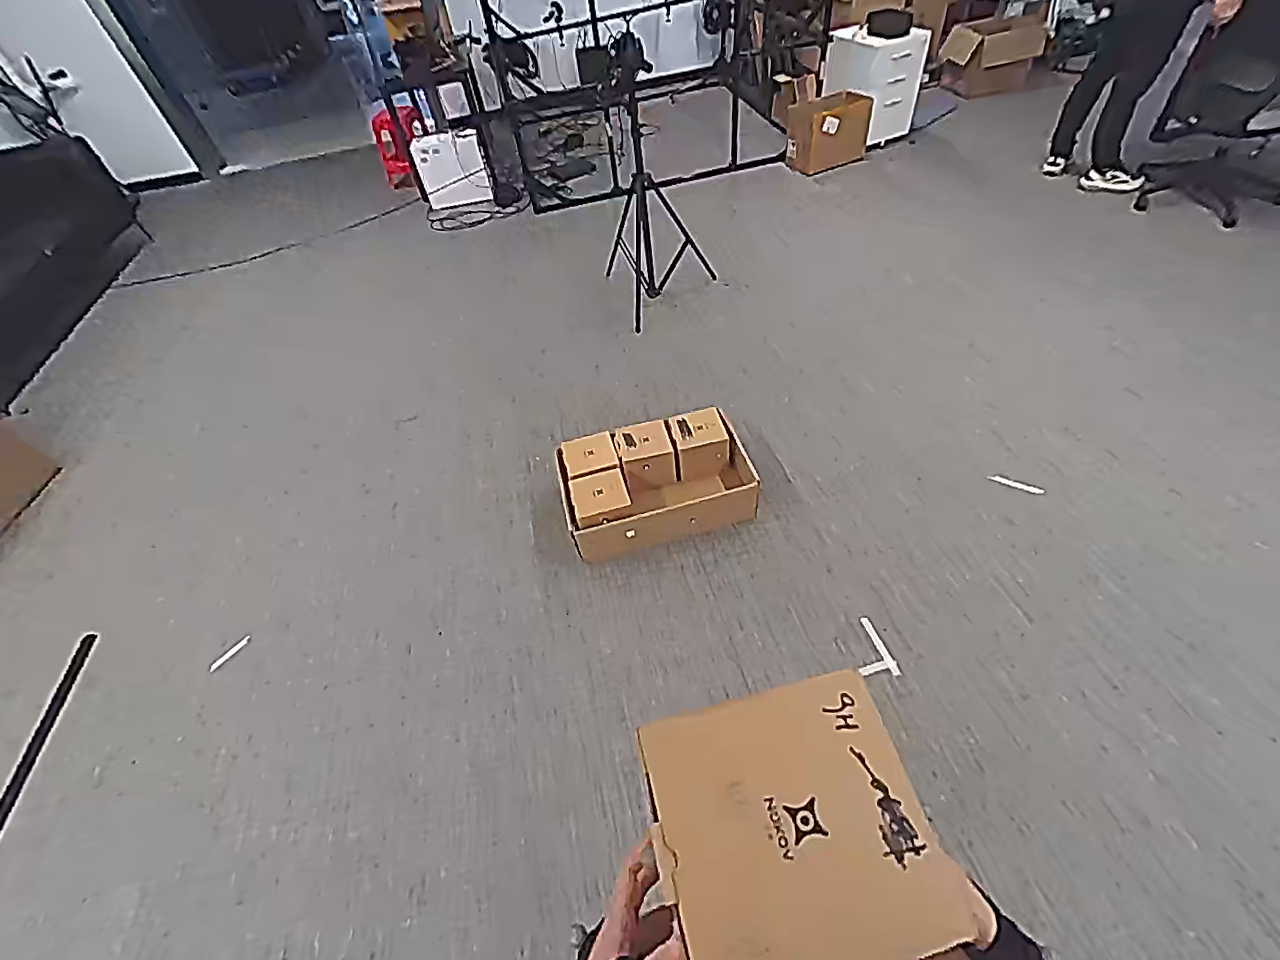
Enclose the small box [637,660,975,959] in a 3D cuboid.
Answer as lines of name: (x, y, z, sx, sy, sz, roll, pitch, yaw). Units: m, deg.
small box: (0.104, 0.263, 0.424, 0.179, 0.176, 0.168, -13, 58, -6)
